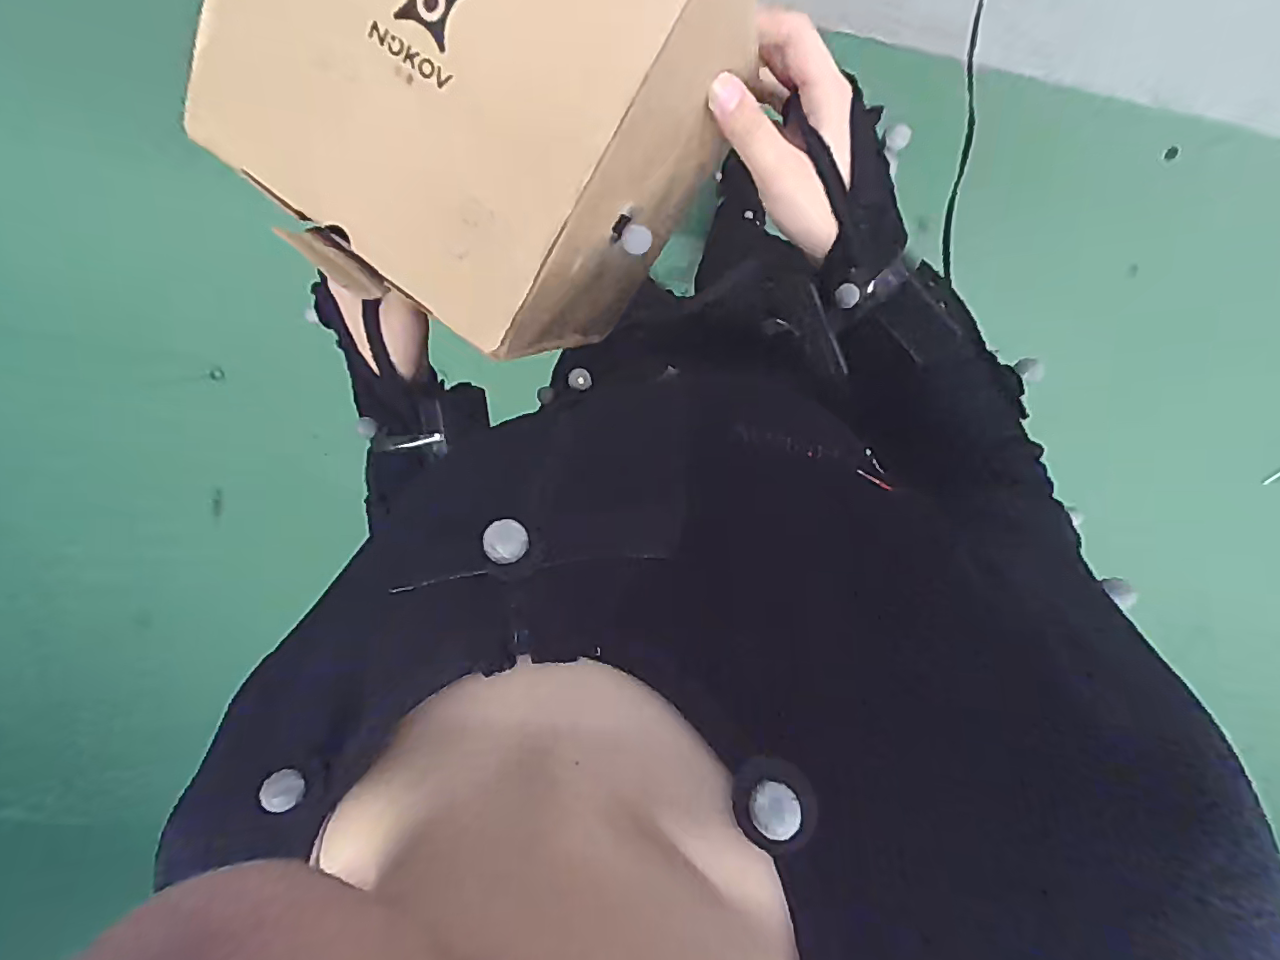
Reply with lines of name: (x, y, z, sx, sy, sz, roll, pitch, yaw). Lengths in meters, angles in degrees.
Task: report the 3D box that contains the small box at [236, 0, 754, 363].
small box: (-0.052, -0.187, 0.285, 0.168, 0.176, 0.179, 37, 112, 0)
